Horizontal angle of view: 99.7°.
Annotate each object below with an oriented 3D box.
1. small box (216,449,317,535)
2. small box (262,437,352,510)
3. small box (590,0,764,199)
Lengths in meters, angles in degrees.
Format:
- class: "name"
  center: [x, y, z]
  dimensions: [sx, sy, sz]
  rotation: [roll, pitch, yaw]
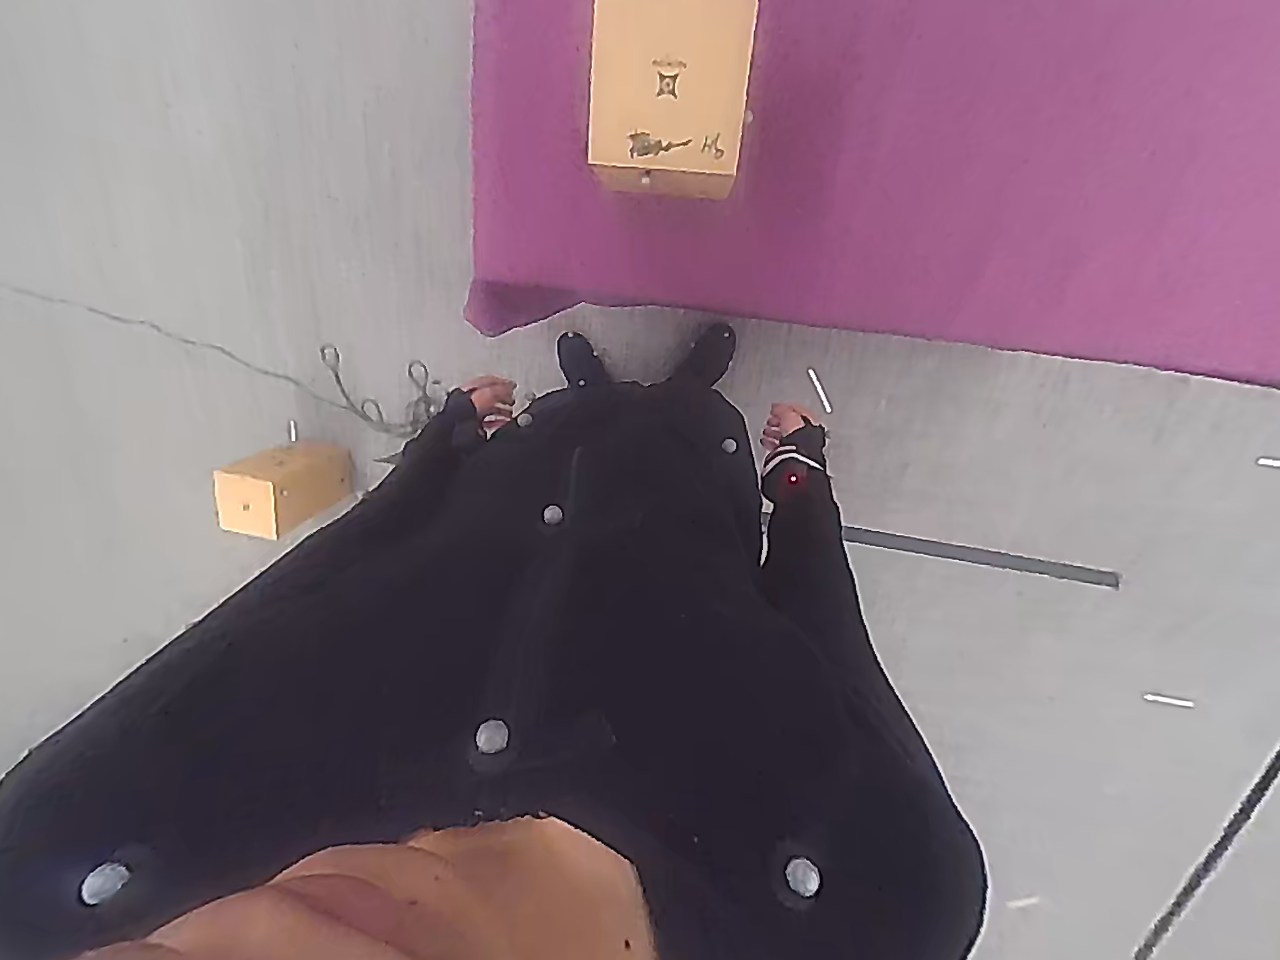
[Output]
- class: "small box"
  center: [-1.038, 0.029, 1.519]
  dimensions: [0.168, 0.176, 0.179]
  rotation: [11, 111, 2]
- class: "small box"
  center: [-1.023, -0.026, 1.671]
  dimensions: [0.179, 0.176, 0.168]
  rotation: [10, 111, 2]
- class: "small box"
  center: [0.041, -0.448, 0.636]
  dimensions: [0.168, 0.176, 0.179]
  rotation: [7, 110, 3]
